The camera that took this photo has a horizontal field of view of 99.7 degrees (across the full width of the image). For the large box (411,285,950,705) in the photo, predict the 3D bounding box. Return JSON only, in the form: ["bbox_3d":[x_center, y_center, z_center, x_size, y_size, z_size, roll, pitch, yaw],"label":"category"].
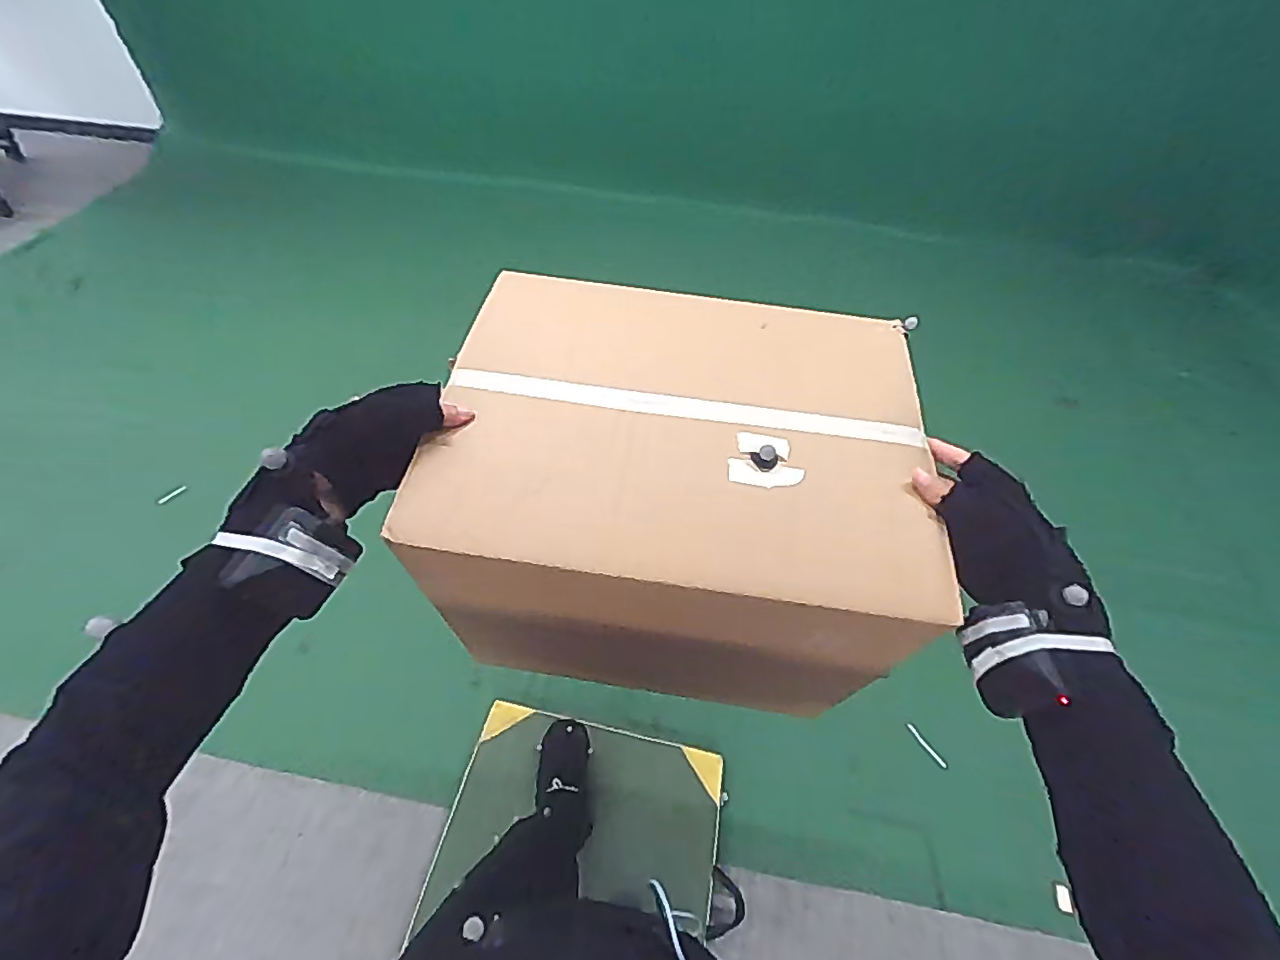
[{"bbox_3d":[0.034,0.030,0.594,0.408,0.320,0.320,9,56,1],"label":"large box"}]
